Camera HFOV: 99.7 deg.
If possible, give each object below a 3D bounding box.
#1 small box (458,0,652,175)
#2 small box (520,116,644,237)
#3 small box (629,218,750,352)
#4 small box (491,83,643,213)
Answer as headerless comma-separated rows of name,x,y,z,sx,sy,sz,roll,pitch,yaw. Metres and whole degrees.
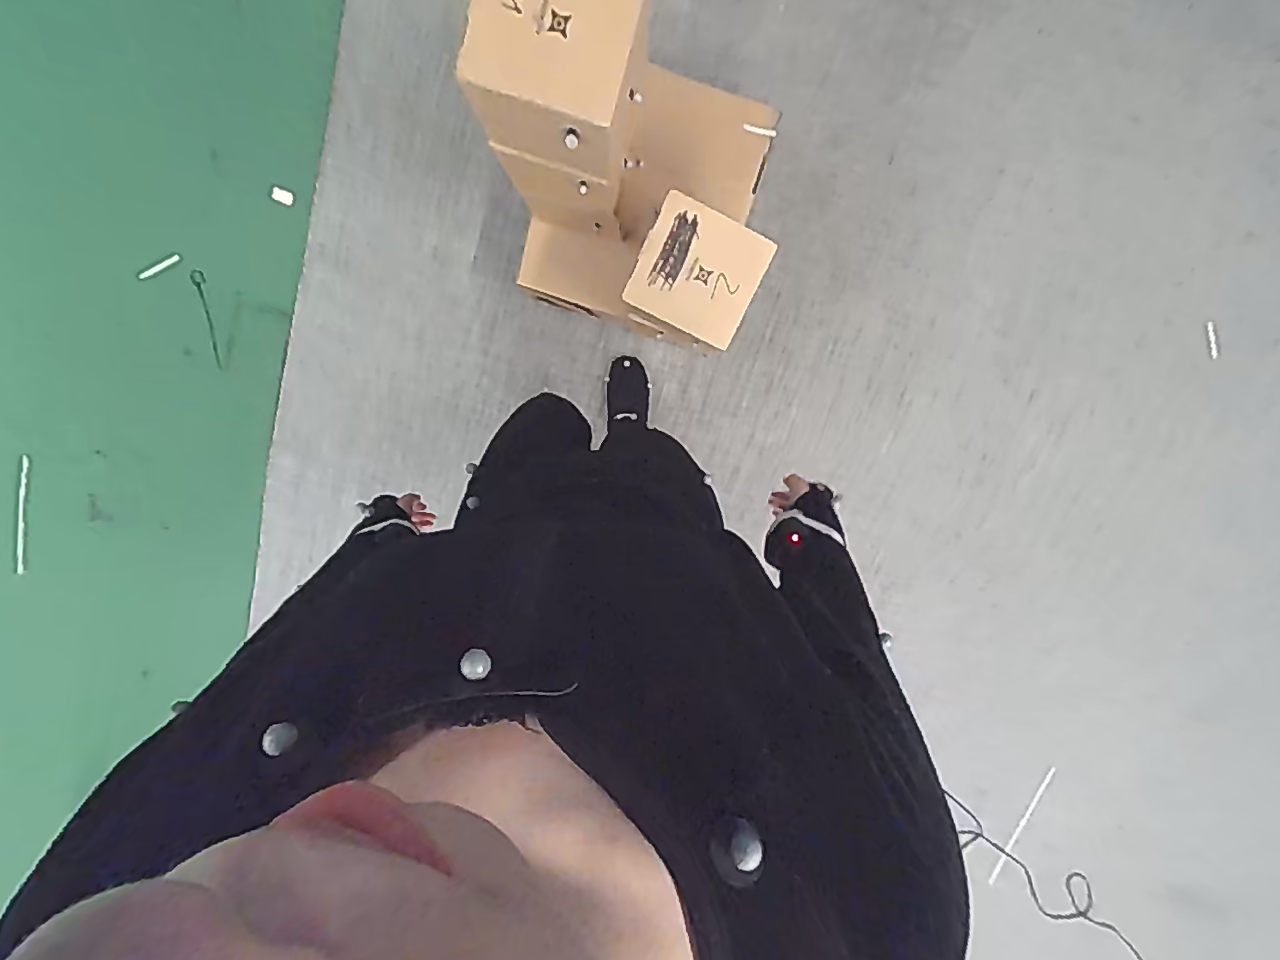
small box,-0.091,-0.497,0.649,0.179,0.176,0.168,17,100,-4
small box,-0.096,-0.555,0.971,0.179,0.176,0.168,15,100,-3
small box,0.083,-0.353,1.013,0.168,0.176,0.179,21,101,-5
small box,-0.102,-0.527,0.812,0.179,0.176,0.168,16,100,-5
